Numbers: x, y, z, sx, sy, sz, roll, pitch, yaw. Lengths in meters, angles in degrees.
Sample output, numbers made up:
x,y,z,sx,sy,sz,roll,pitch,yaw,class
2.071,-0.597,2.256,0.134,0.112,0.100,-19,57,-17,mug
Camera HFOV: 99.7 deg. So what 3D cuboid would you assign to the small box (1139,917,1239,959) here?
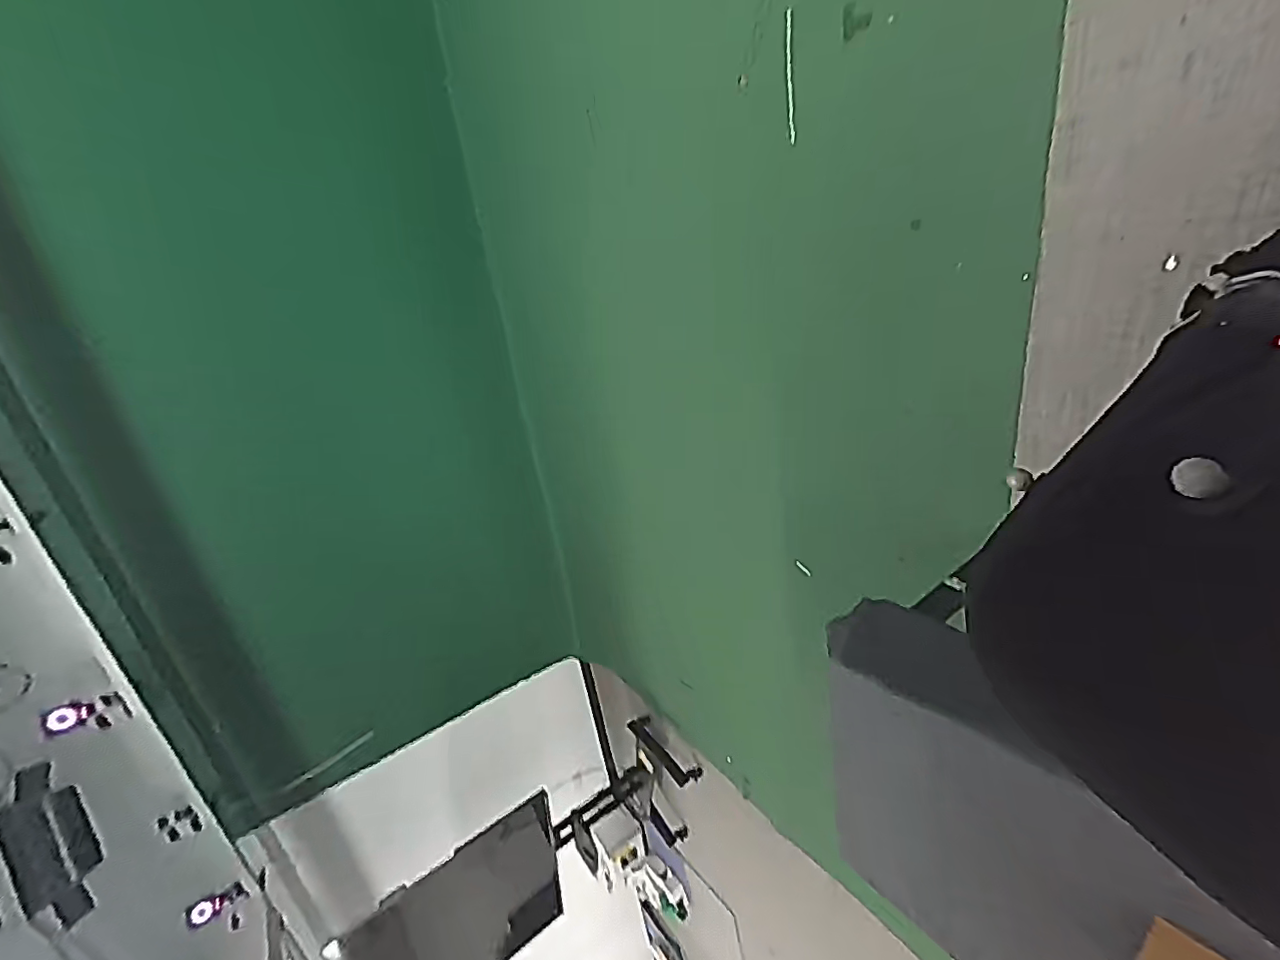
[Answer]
x,y,z,sx,sy,sz,roll,pitch,yaw,class
0.703,0.699,0.652,0.179,0.176,0.168,21,127,54,small box
